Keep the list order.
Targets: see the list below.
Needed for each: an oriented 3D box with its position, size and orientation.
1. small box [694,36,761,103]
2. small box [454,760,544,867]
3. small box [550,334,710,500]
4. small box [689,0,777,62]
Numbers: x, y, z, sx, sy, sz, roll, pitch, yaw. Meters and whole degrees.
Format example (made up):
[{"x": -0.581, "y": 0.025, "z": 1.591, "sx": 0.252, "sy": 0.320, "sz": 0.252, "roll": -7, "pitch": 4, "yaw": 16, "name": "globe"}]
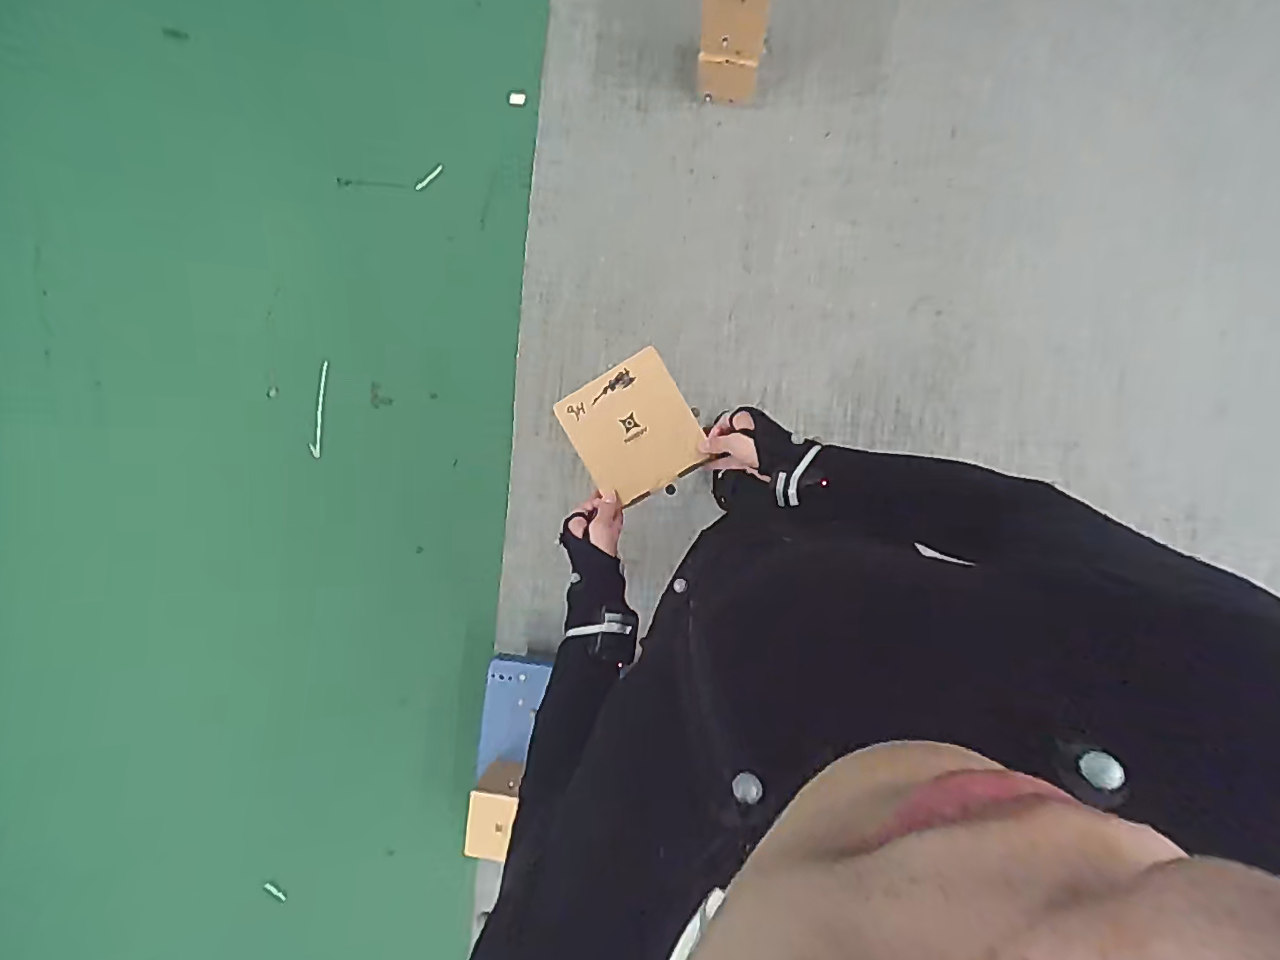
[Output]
[{"x": 0.250, "y": -1.214, "z": 1.535, "sx": 0.168, "sy": 0.176, "sz": 0.179, "roll": 10, "pitch": 90, "yaw": 5, "name": "small box"}, {"x": -0.360, "y": 0.862, "z": 1.414, "sx": 0.179, "sy": 0.176, "sz": 0.168, "roll": 7, "pitch": 90, "yaw": 5, "name": "small box"}, {"x": -0.006, "y": -0.086, "z": 0.806, "sx": 0.168, "sy": 0.176, "sz": 0.179, "roll": -28, "pitch": 87, "yaw": 5, "name": "small box"}, {"x": 0.236, "y": -1.233, "z": 1.382, "sx": 0.179, "sy": 0.176, "sz": 0.168, "roll": 42, "pitch": 96, "yaw": 5, "name": "small box"}]
